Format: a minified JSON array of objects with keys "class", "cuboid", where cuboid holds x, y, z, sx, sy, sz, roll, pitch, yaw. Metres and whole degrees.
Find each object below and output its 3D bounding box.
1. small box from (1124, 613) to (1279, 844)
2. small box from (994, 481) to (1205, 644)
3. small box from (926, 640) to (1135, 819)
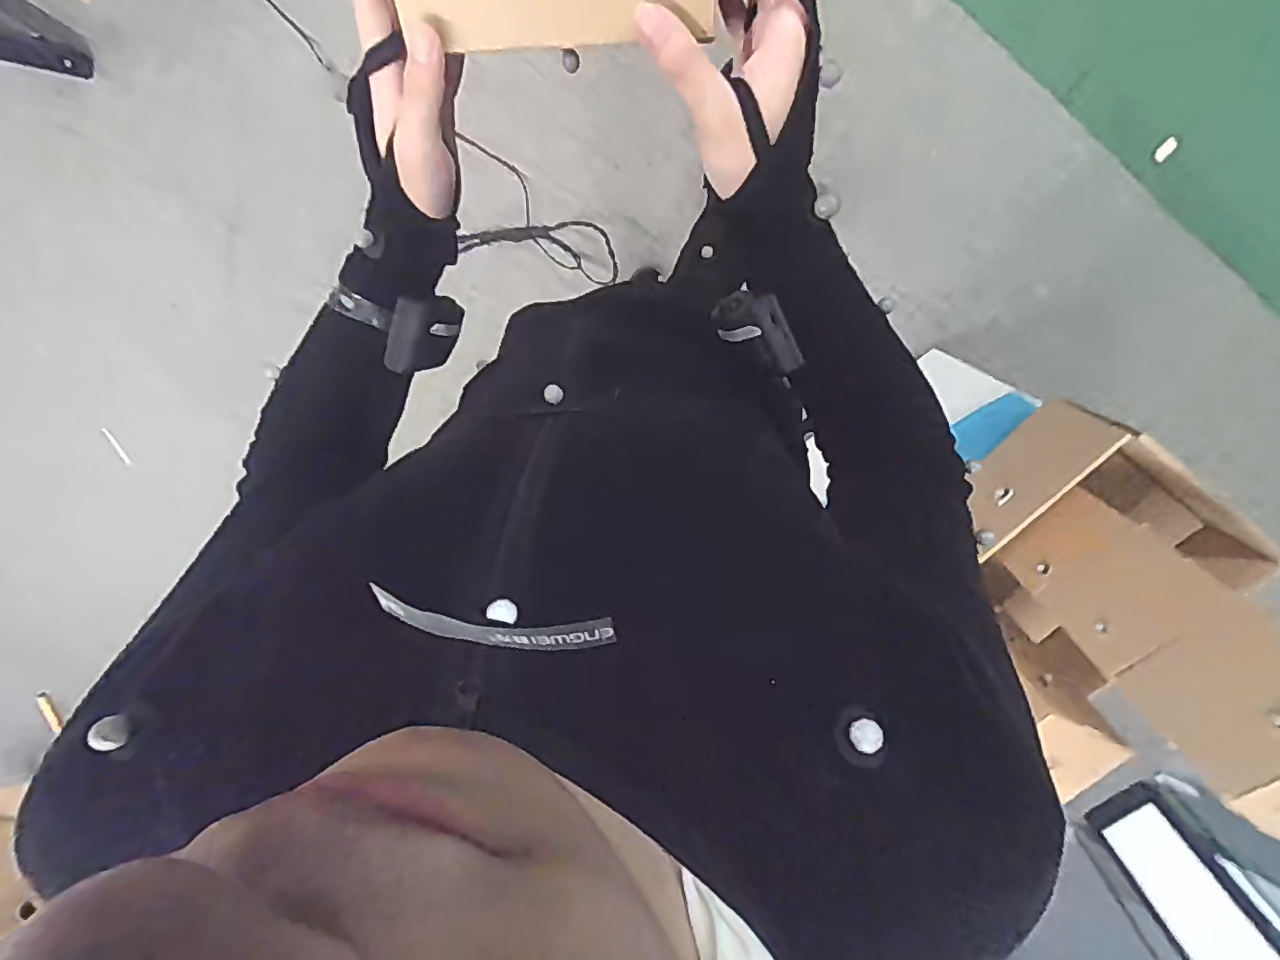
[{"class":"small box","cuboid":[0.735,0.287,0.622,0.168,0.176,0.179,32,117,-13]},{"class":"small box","cuboid":[0.753,0.132,0.911,0.168,0.176,0.179,31,117,-12]},{"class":"small box","cuboid":[0.602,0.390,0.863,0.168,0.176,0.179,27,115,-10]}]
